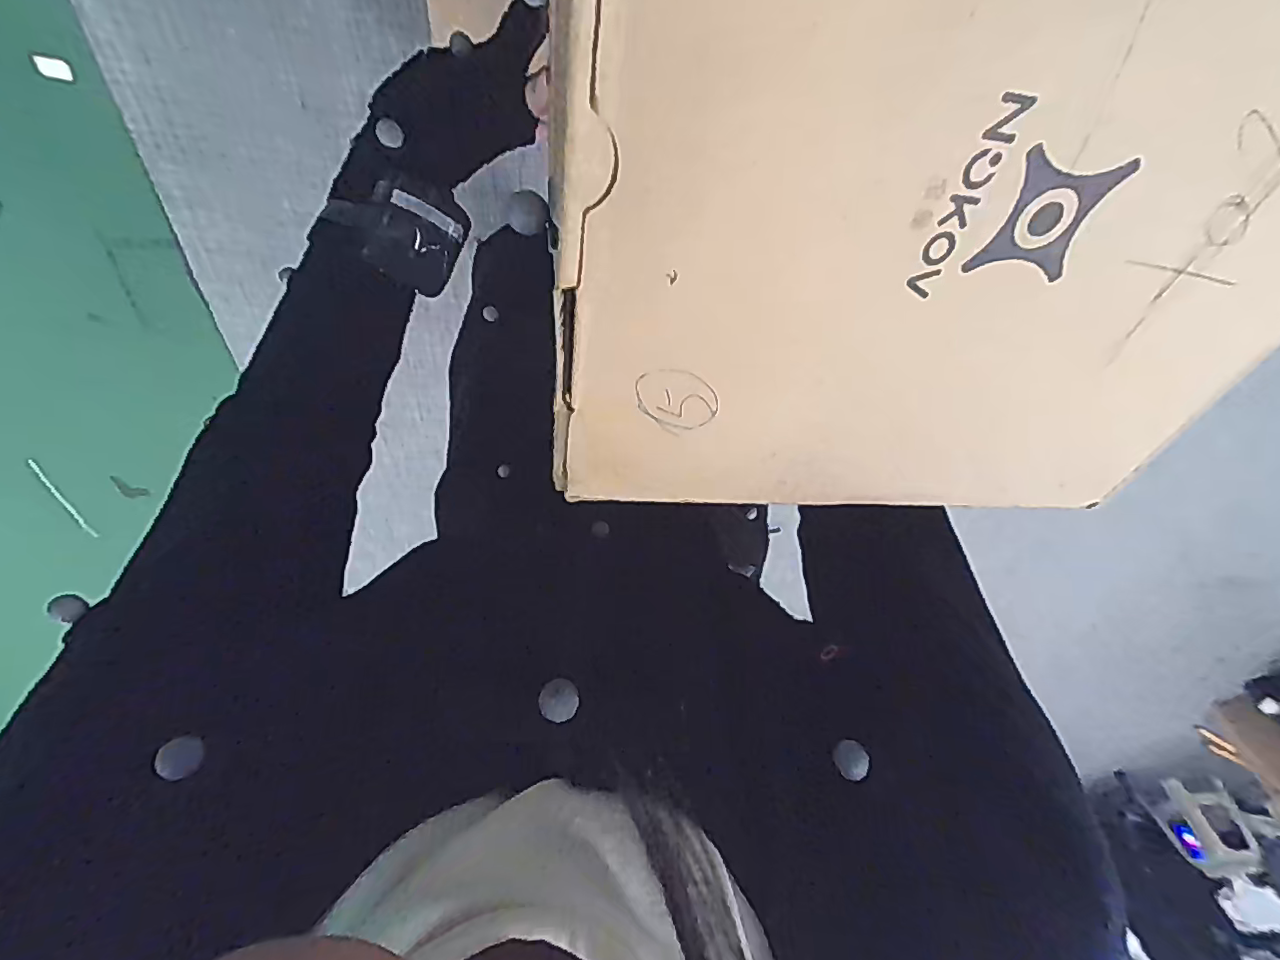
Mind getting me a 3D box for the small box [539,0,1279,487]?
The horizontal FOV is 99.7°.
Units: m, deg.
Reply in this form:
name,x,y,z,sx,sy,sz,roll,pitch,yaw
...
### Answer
name,x,y,z,sx,sy,sz,roll,pitch,yaw
small box,0.061,-0.116,0.164,0.179,0.176,0.168,0,136,-10
